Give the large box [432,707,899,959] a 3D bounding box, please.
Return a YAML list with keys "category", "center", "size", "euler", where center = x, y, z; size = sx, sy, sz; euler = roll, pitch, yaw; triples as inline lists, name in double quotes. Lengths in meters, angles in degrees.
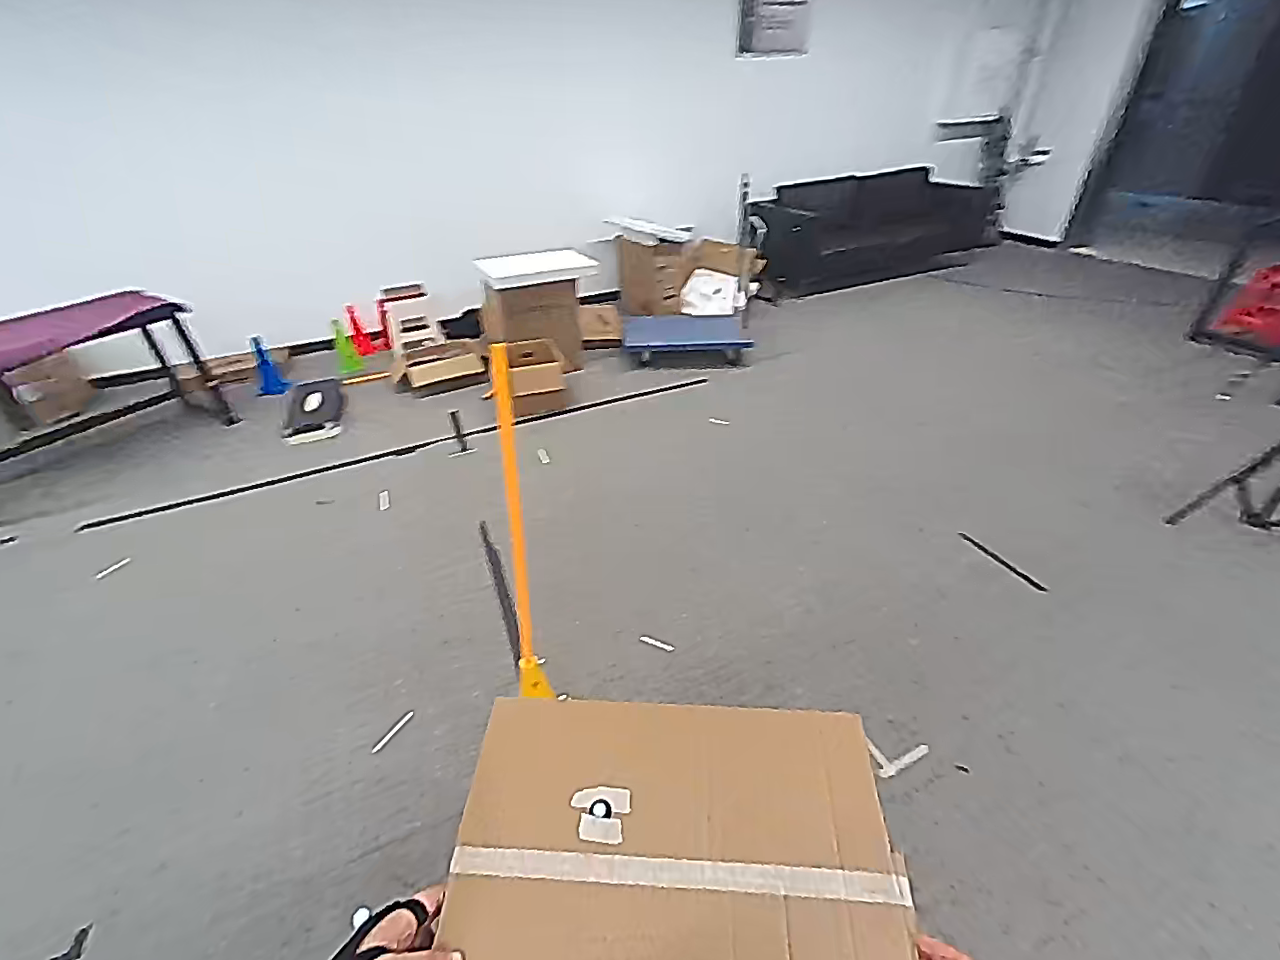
- category: "large box"
  center: [0.033, 0.470, 0.602]
  size: [0.408, 0.320, 0.320]
  euler: [-1, 43, 5]
